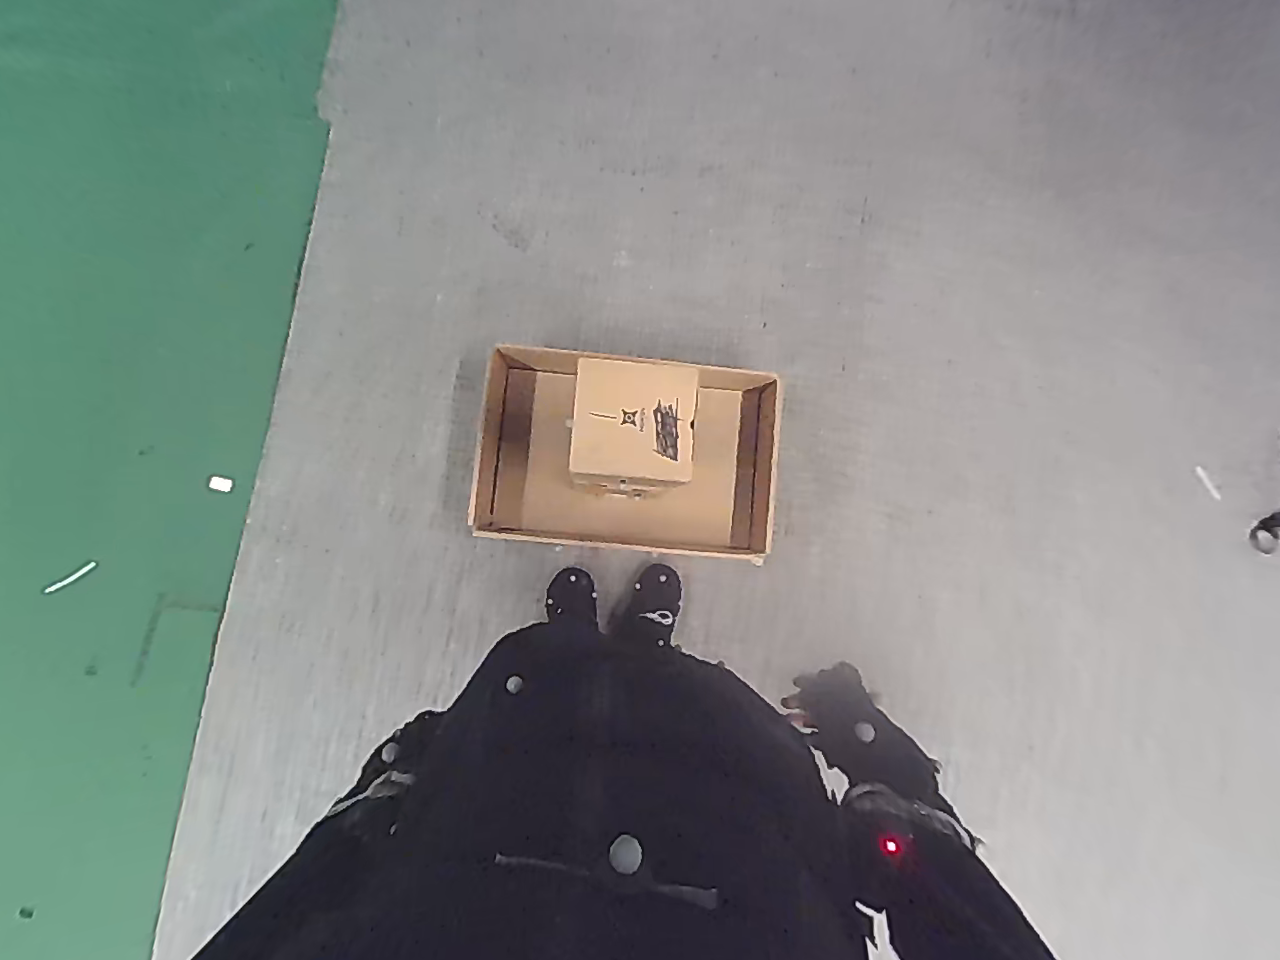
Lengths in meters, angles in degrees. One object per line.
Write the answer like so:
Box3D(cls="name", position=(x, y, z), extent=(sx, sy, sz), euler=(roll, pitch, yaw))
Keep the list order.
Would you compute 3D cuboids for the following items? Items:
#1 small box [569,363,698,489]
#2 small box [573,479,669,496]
Box3D(cls="small box", position=(-0.013, -0.076, 0.852), extent=(0.179, 0.176, 0.168), euler=(4, 86, -3))
Box3D(cls="small box", position=(-0.030, -0.061, 0.998), extent=(0.168, 0.176, 0.179), euler=(3, 86, -3))
